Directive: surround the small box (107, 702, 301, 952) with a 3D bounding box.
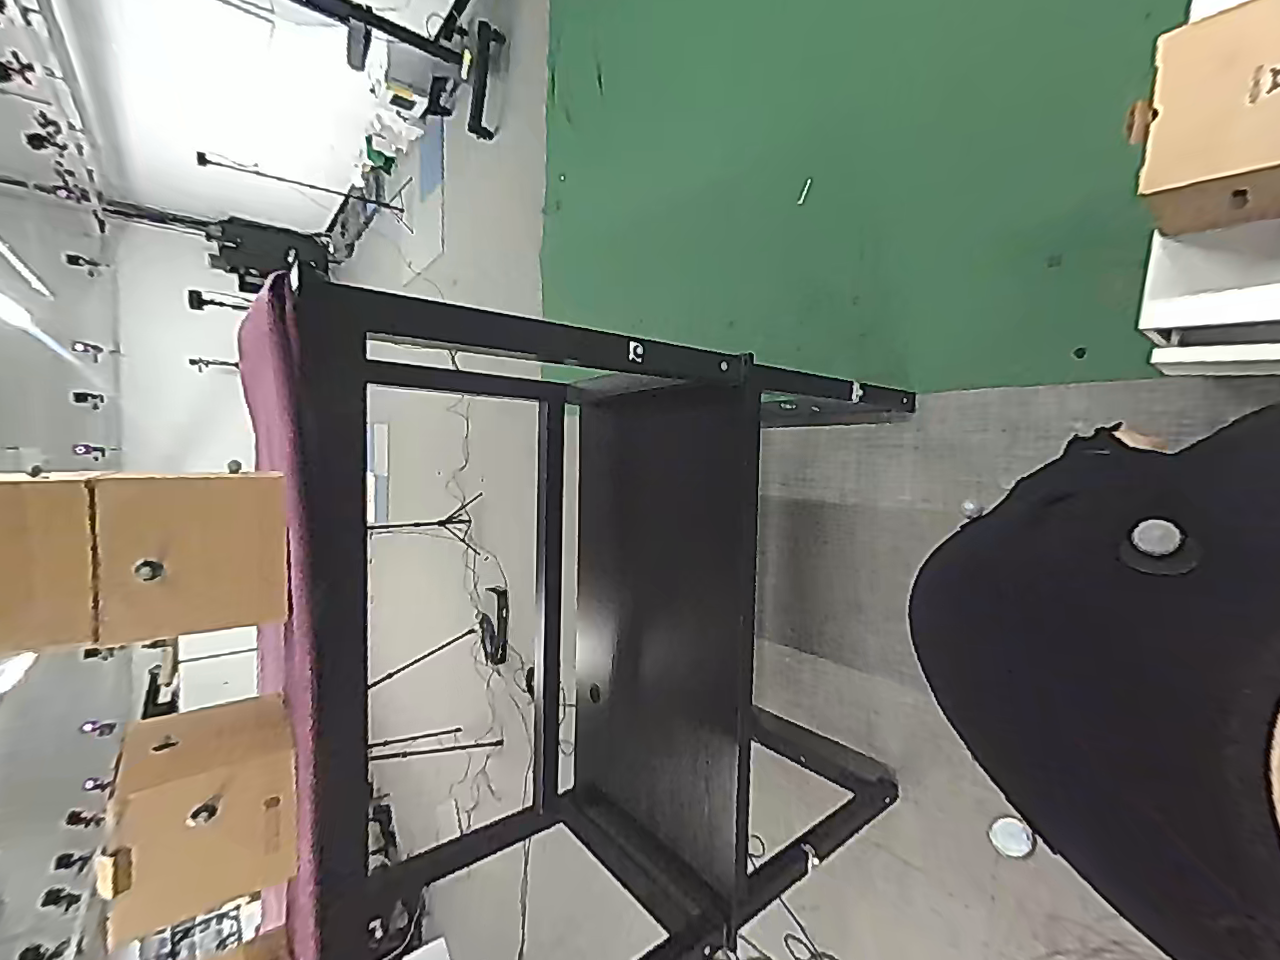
[{"bbox_3d":[-0.521,0.395,0.661,0.179,0.176,0.168,7,95,52],"label":"small box"}]

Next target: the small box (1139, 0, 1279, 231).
[{"bbox_3d":[0.654,-0.376,0.553,0.179,0.176,0.168,9,98,51],"label":"small box"}]

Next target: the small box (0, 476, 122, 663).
[{"bbox_3d":[-0.658,0.087,0.561,0.168,0.176,0.179,4,94,54],"label":"small box"}]

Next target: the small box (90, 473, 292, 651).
[{"bbox_3d":[-0.524,0.083,0.653,0.168,0.176,0.179,3,93,54],"label":"small box"}]
